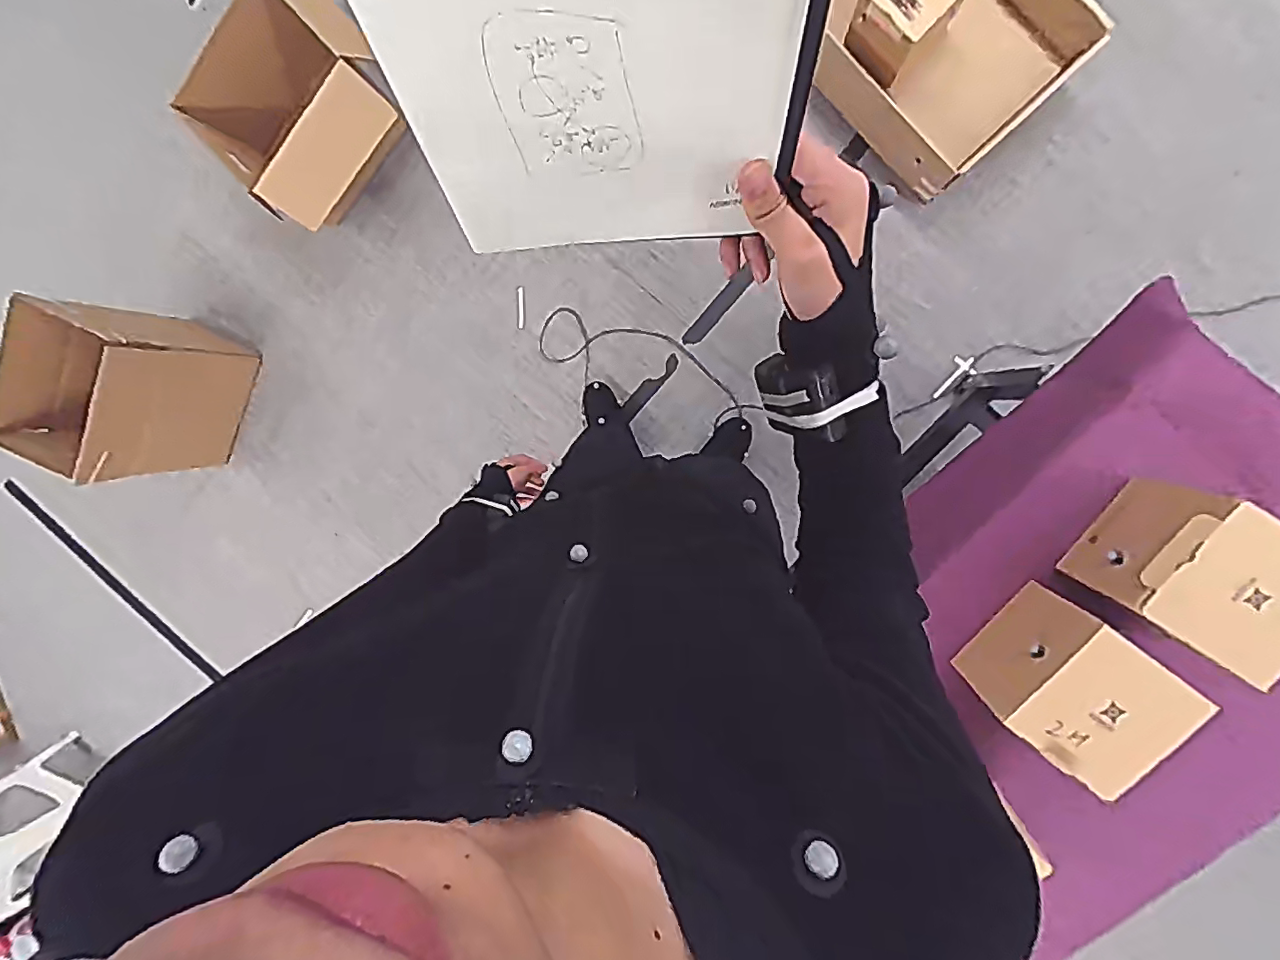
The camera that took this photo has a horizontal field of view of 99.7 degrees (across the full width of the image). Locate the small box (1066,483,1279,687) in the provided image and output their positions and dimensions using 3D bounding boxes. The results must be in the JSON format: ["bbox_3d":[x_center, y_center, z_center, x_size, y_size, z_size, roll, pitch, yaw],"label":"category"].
[{"bbox_3d":[0.715,0.118,0.694,0.179,0.176,0.168,34,103,3],"label":"small box"}]
